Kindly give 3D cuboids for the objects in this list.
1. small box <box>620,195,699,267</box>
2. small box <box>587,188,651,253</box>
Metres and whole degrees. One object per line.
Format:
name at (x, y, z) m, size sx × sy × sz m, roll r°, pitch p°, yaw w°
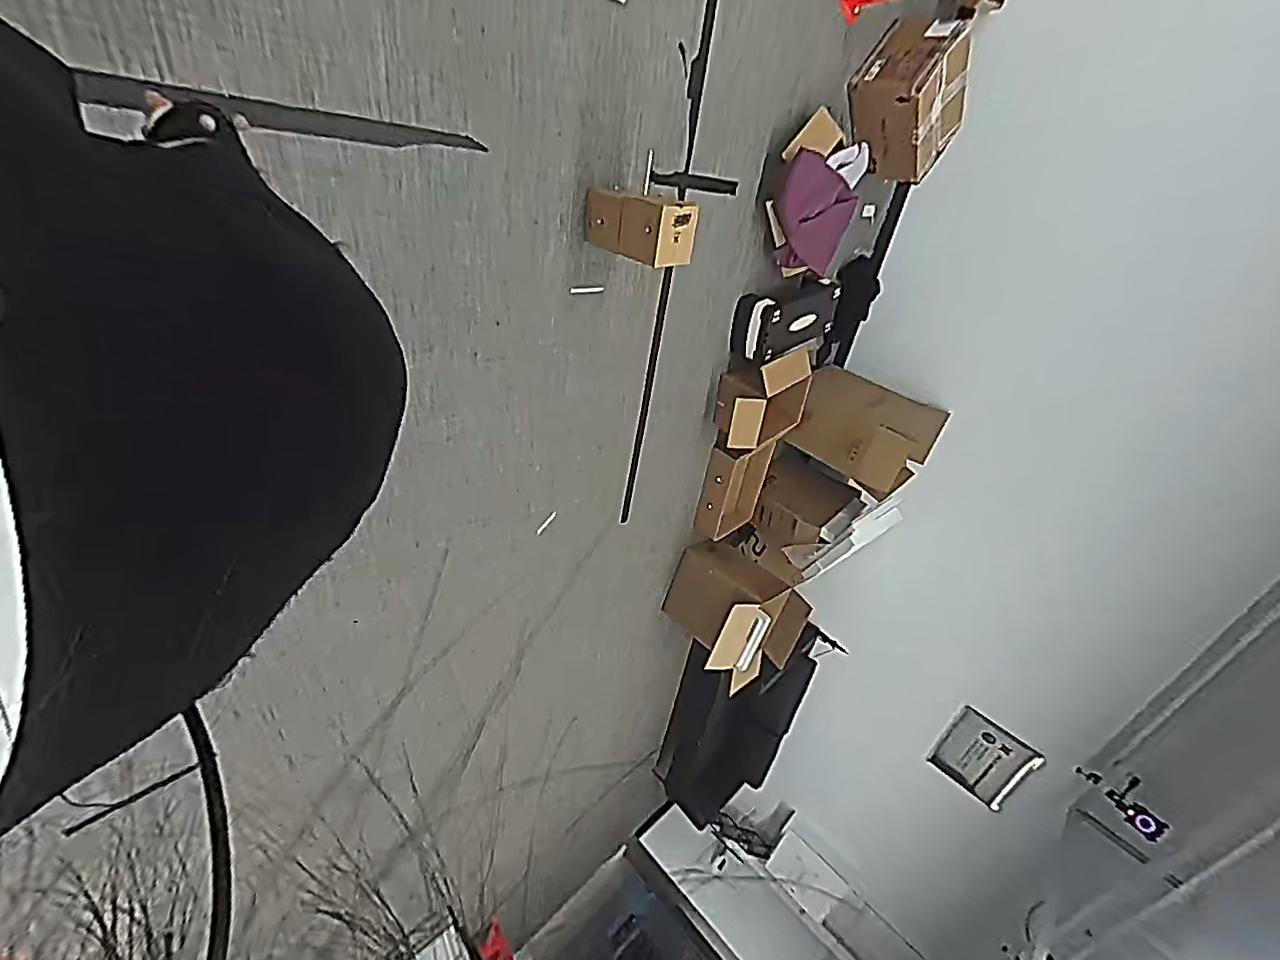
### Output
small box at (0.056, -0.779, 1.683) m, size 0.168 × 0.176 × 0.179 m, roll -24°, pitch 137°, yaw -39°
small box at (-0.058, -0.854, 1.779) m, size 0.179 × 0.176 × 0.168 m, roll -24°, pitch 136°, yaw -38°
